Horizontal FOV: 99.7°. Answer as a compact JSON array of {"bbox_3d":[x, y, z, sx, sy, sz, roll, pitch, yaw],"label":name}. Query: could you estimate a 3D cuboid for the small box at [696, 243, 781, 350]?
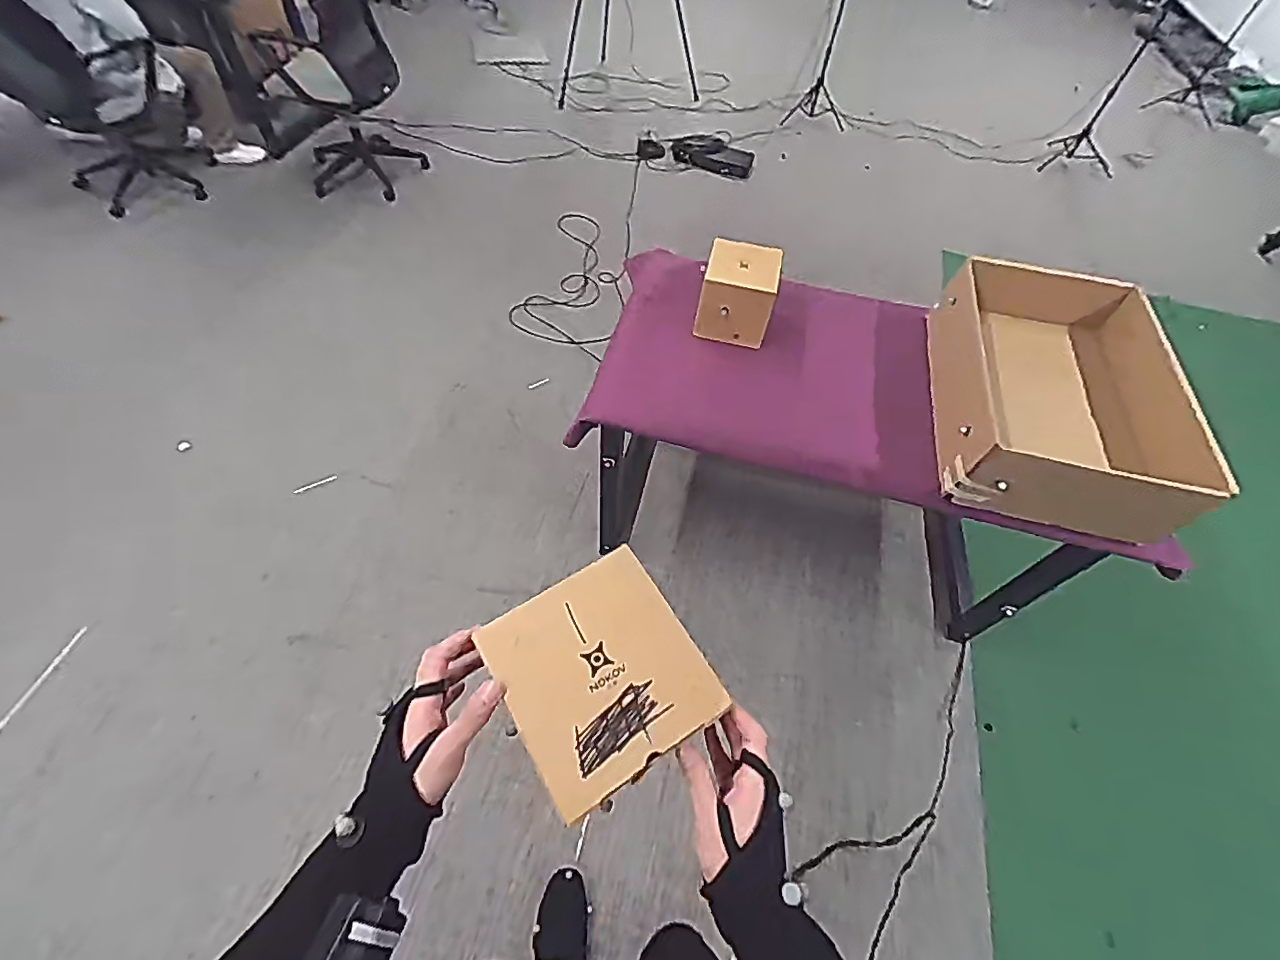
[{"bbox_3d":[0.236,-0.443,1.316,0.168,0.176,0.179,12,54,5],"label":"small box"}]
